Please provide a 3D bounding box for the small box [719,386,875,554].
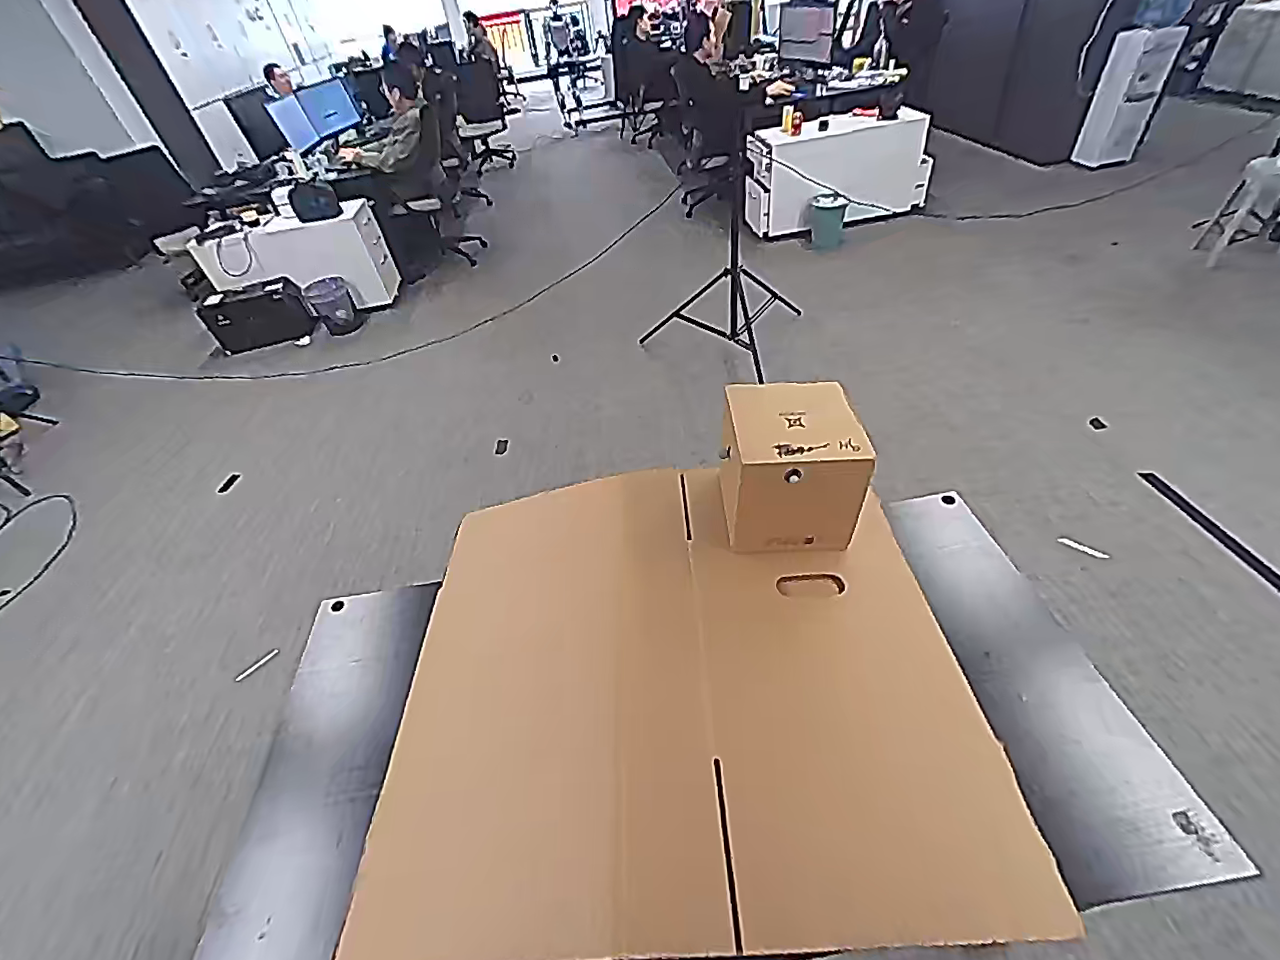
[{"bbox_3d":[0.206,-0.015,0.766,0.168,0.176,0.179,-2,41,2],"label":"small box"}]
